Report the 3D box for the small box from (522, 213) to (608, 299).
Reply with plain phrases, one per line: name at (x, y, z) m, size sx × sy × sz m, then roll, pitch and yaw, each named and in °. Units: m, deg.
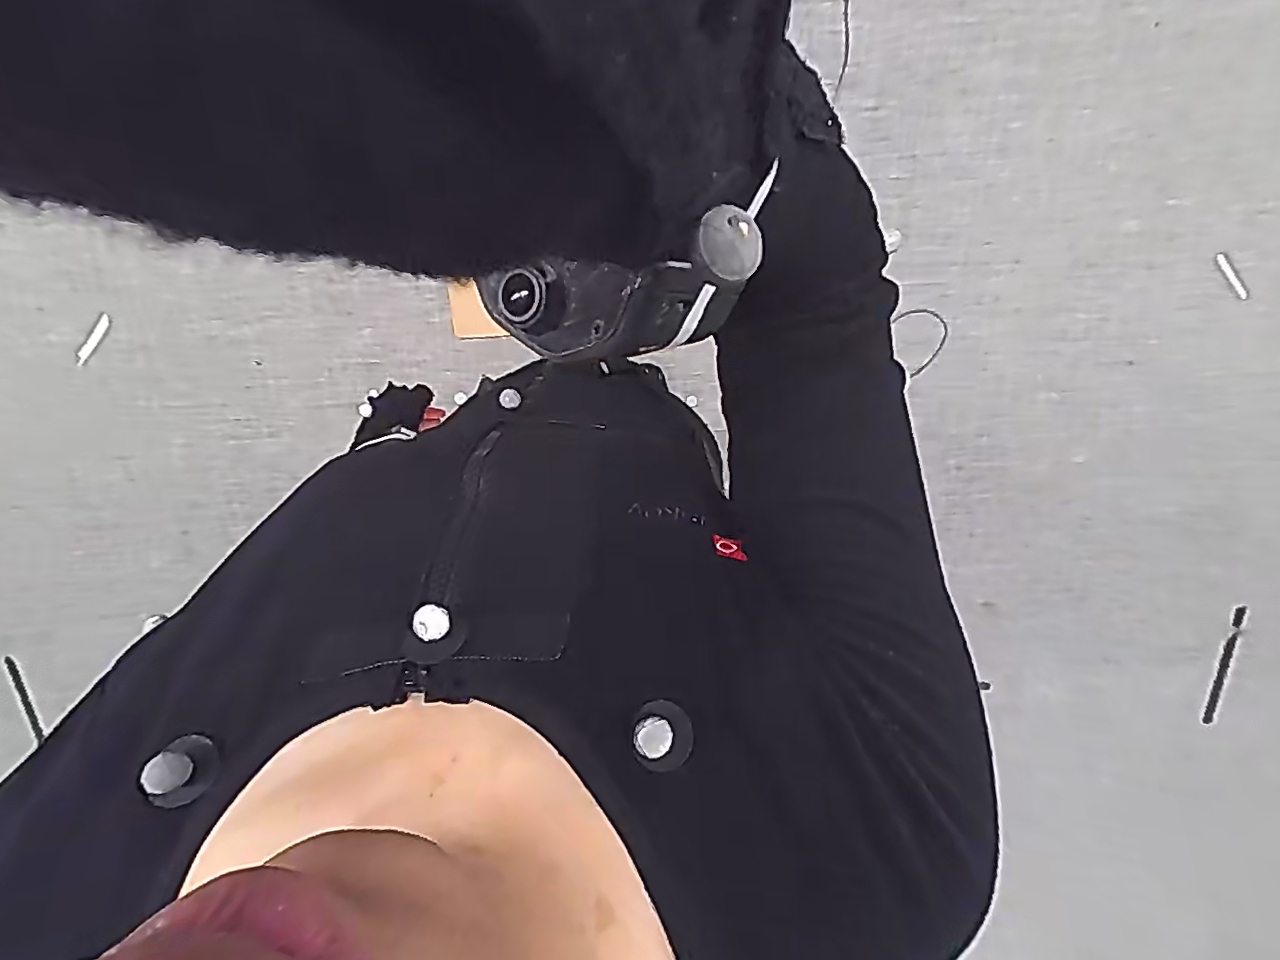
small box at (-0.167, -0.521, 1.271) m, size 0.179 × 0.176 × 0.168 m, roll -3°, pitch 105°, yaw 1°
